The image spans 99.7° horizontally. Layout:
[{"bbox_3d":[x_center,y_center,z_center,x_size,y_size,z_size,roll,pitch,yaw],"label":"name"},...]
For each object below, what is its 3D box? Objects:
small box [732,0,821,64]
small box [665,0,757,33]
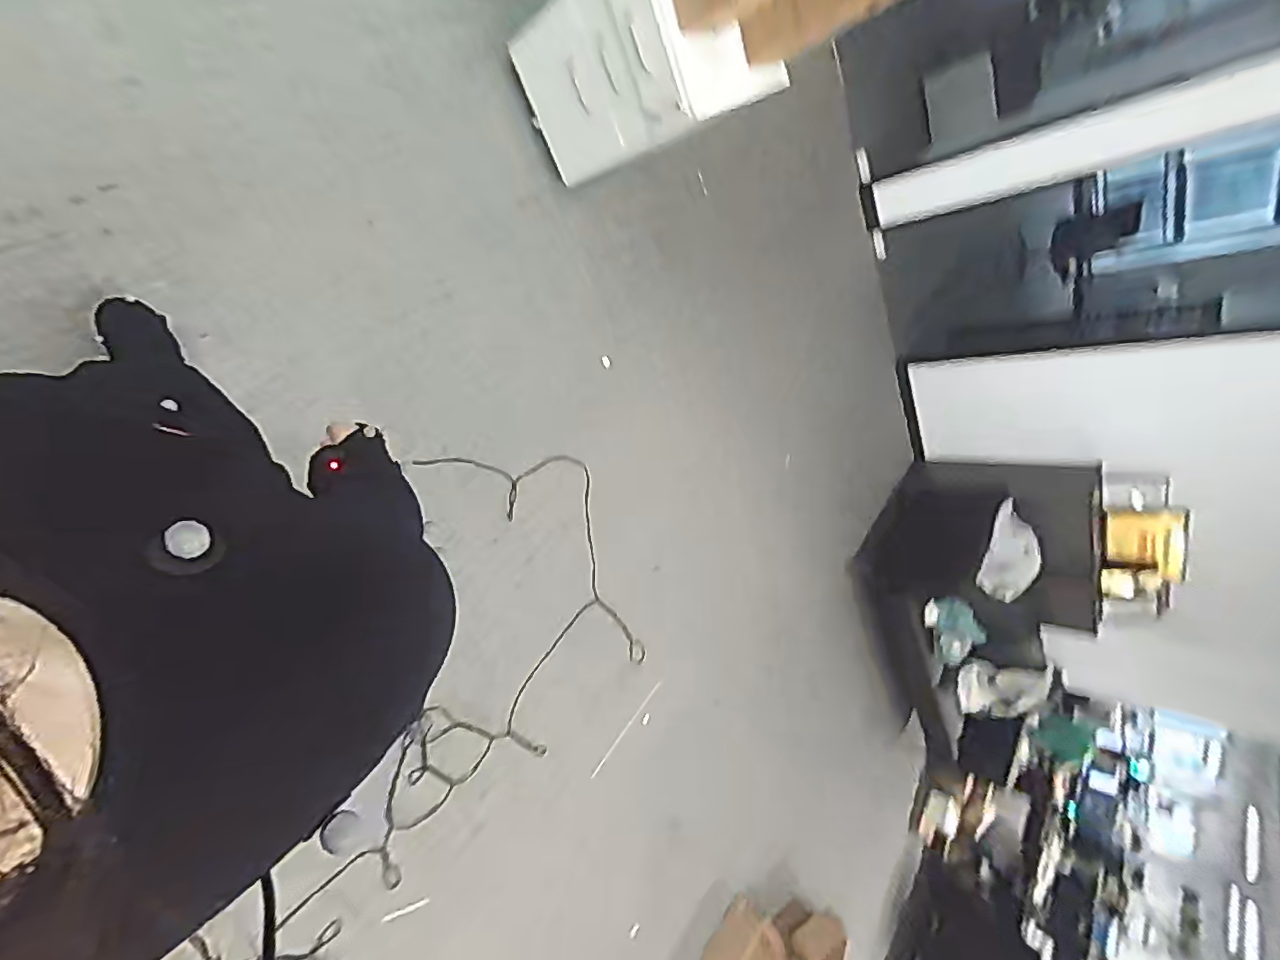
[{"bbox_3d":[0.358,-1.262,1.453,0.168,0.176,0.179,-36,117,-36],"label":"small box"},{"bbox_3d":[0.159,-1.193,1.263,0.168,0.176,0.179,-38,120,-36],"label":"small box"}]
